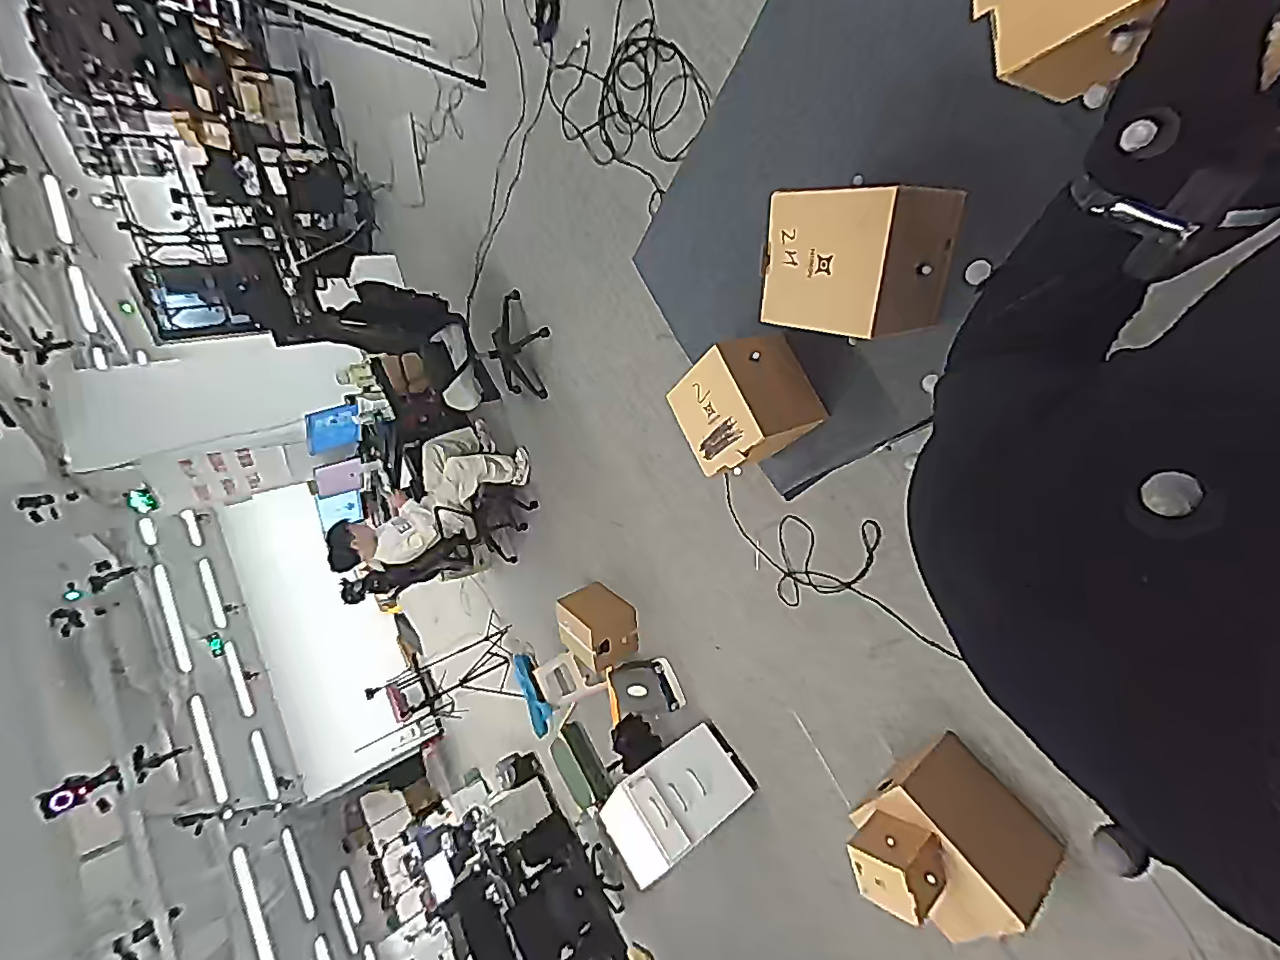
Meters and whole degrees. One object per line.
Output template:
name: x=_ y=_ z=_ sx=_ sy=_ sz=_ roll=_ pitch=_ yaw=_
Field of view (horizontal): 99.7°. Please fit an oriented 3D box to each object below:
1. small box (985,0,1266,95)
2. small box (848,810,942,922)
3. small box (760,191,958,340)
small box: x=0.419 y=-0.463 z=0.455 sx=0.179 sy=0.176 sz=0.168 roll=1 pitch=107 yaw=56
small box: x=0.735 y=1.090 z=1.546 sx=0.179 sy=0.176 sz=0.168 roll=-12 pitch=95 yaw=54
small box: x=0.288 y=-0.293 z=0.724 sx=0.179 sy=0.176 sz=0.168 roll=29 pitch=127 yaw=46
